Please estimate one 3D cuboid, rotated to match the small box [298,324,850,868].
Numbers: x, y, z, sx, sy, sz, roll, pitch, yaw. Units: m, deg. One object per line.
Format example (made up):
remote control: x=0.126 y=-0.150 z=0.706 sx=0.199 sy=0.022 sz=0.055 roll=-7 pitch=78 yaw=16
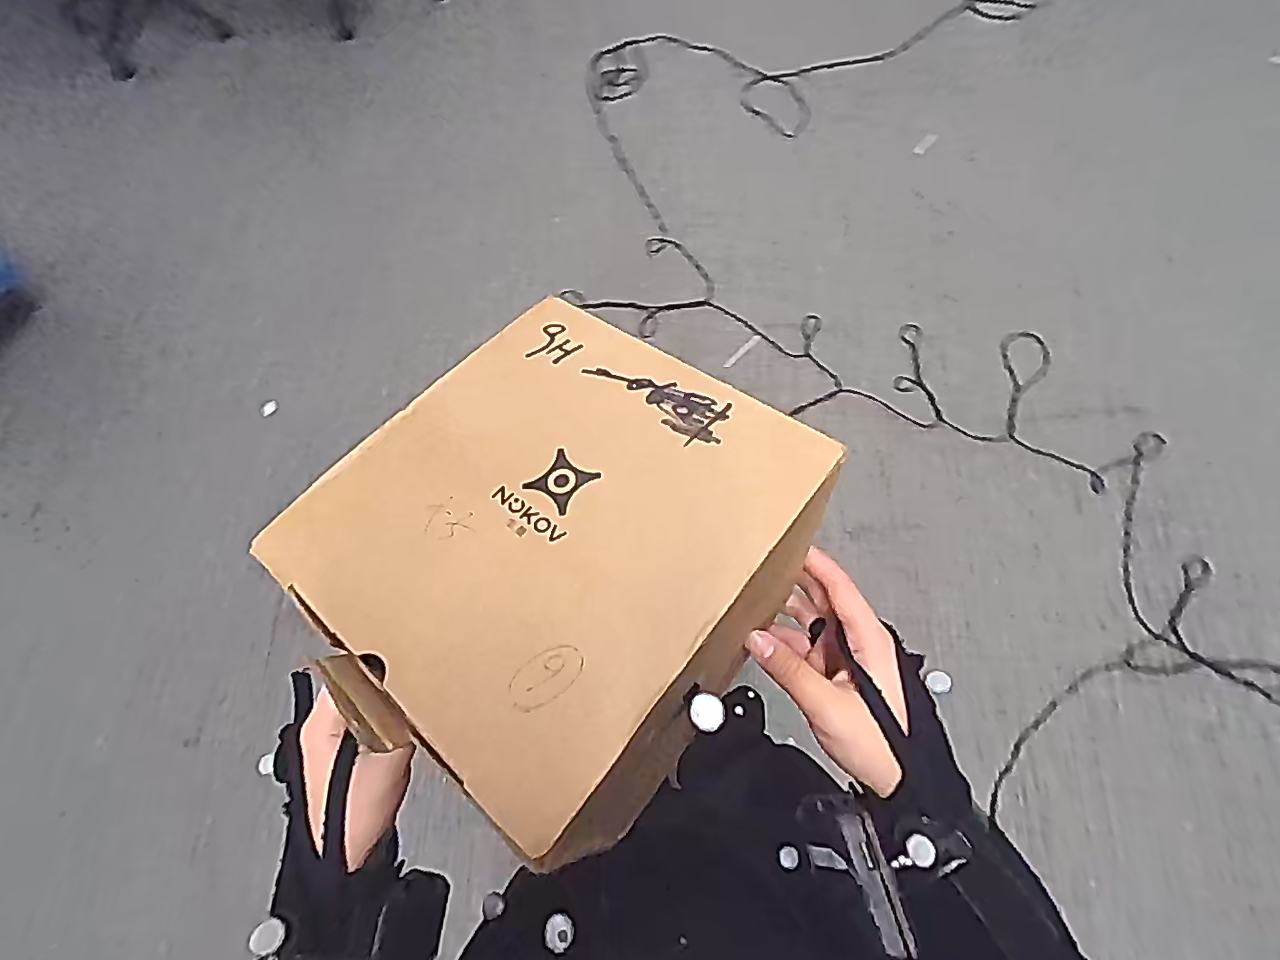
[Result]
small box: x=-0.020 y=0.059 z=0.289 sx=0.168 sy=0.176 sz=0.179 roll=34 pitch=67 yaw=23
